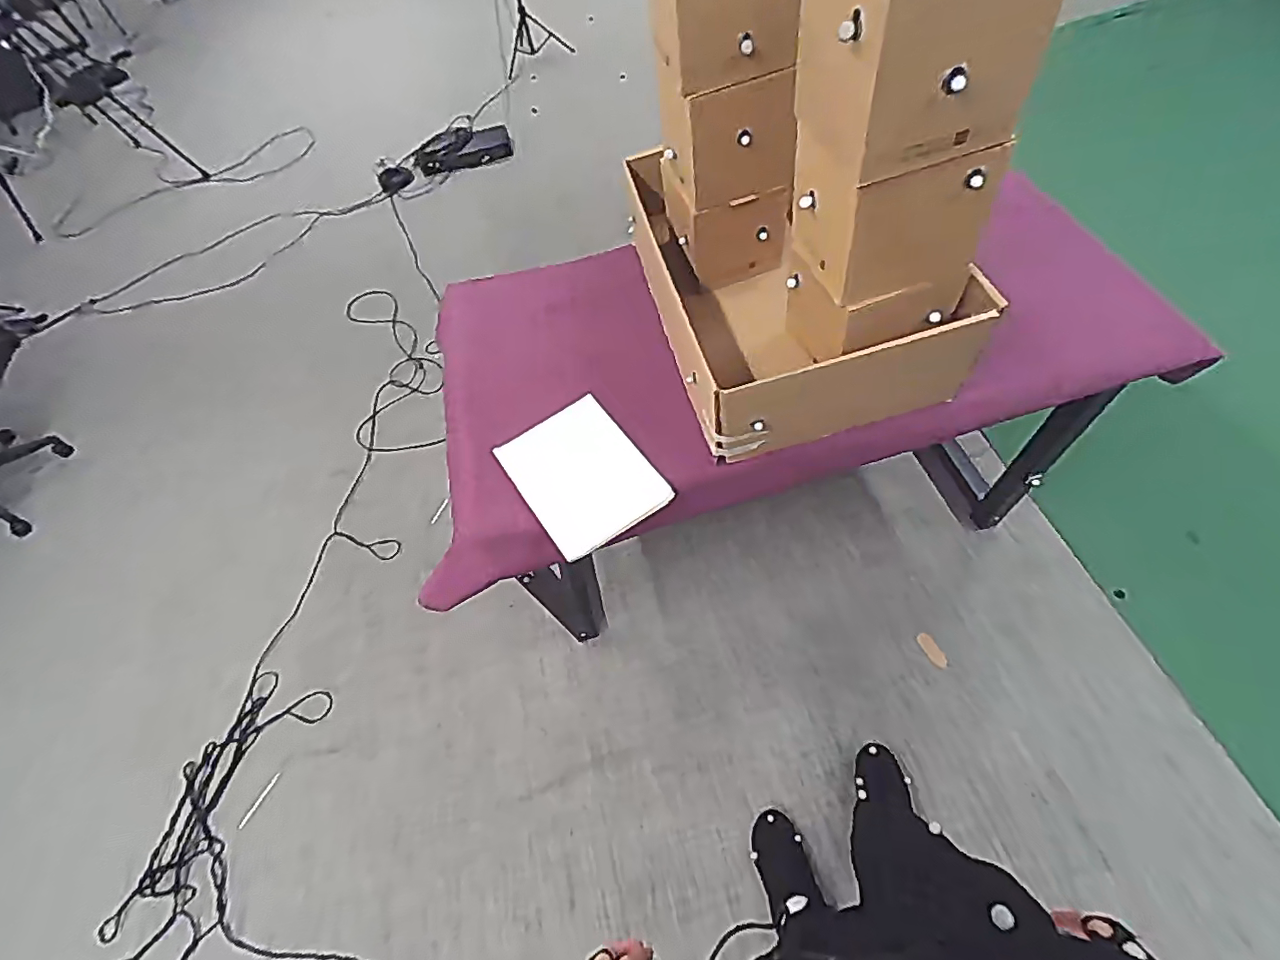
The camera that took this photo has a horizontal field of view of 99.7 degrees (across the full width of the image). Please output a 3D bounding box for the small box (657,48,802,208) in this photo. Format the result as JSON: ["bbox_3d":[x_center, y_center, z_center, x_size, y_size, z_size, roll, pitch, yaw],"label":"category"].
[{"bbox_3d":[0.137,-0.557,0.829,0.179,0.176,0.168,-18,59,-1],"label":"small box"}]

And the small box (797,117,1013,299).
[{"bbox_3d":[0.305,-0.354,0.674,0.179,0.176,0.168,-16,57,1],"label":"small box"}]

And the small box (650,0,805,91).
[{"bbox_3d":[0.110,-0.640,0.689,0.179,0.176,0.168,-16,59,-1],"label":"small box"}]

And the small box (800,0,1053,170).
[{"bbox_3d":[0.272,-0.438,0.536,0.168,0.176,0.179,-16,57,1],"label":"small box"}]
